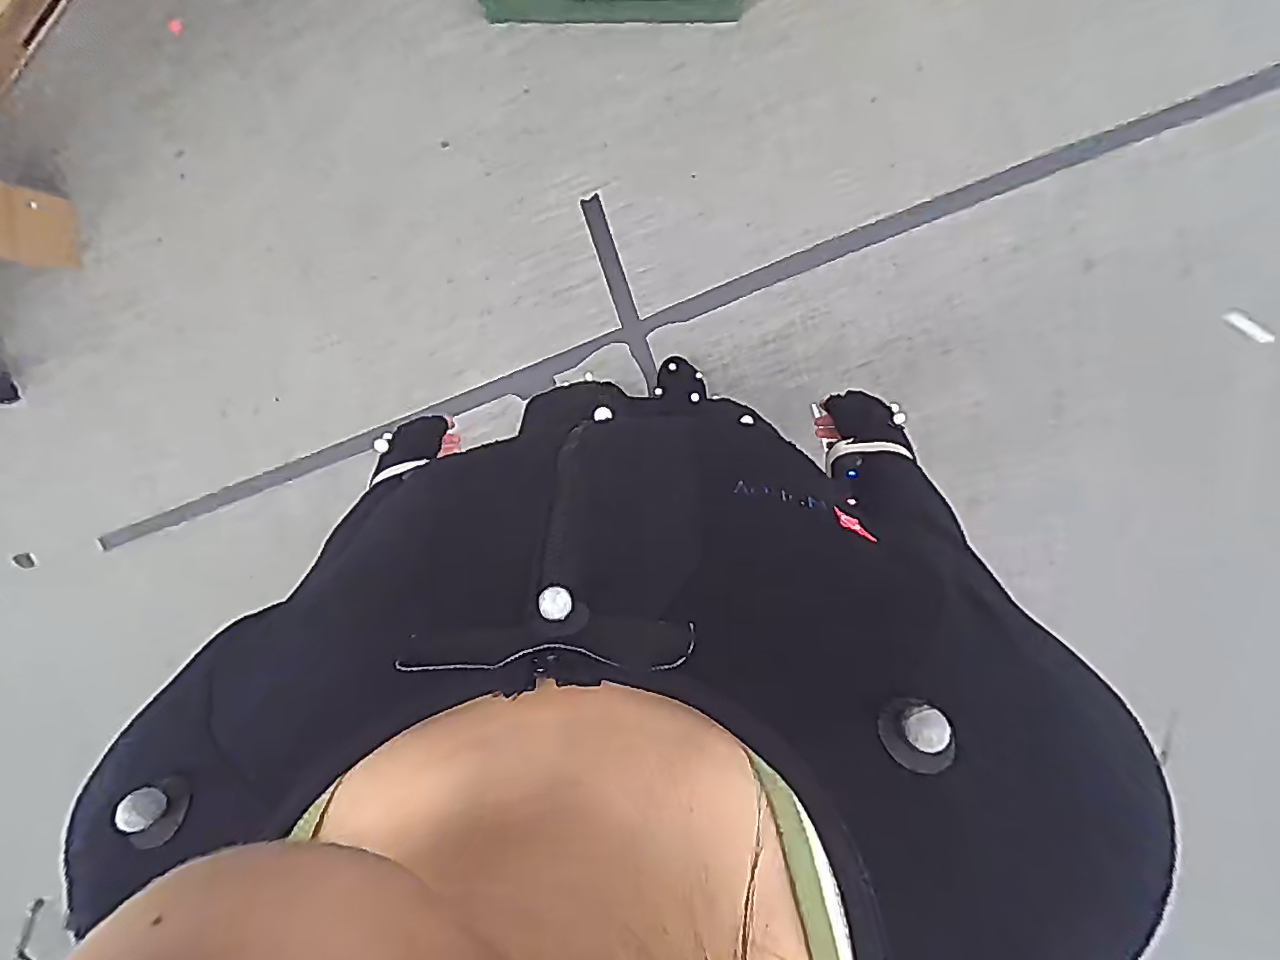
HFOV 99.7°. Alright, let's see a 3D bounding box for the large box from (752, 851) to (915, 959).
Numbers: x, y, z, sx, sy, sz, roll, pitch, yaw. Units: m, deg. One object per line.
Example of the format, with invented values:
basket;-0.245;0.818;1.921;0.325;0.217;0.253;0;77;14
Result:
large box;0.580;1.400;1.636;0.408;0.320;0.320;-11;102;6
